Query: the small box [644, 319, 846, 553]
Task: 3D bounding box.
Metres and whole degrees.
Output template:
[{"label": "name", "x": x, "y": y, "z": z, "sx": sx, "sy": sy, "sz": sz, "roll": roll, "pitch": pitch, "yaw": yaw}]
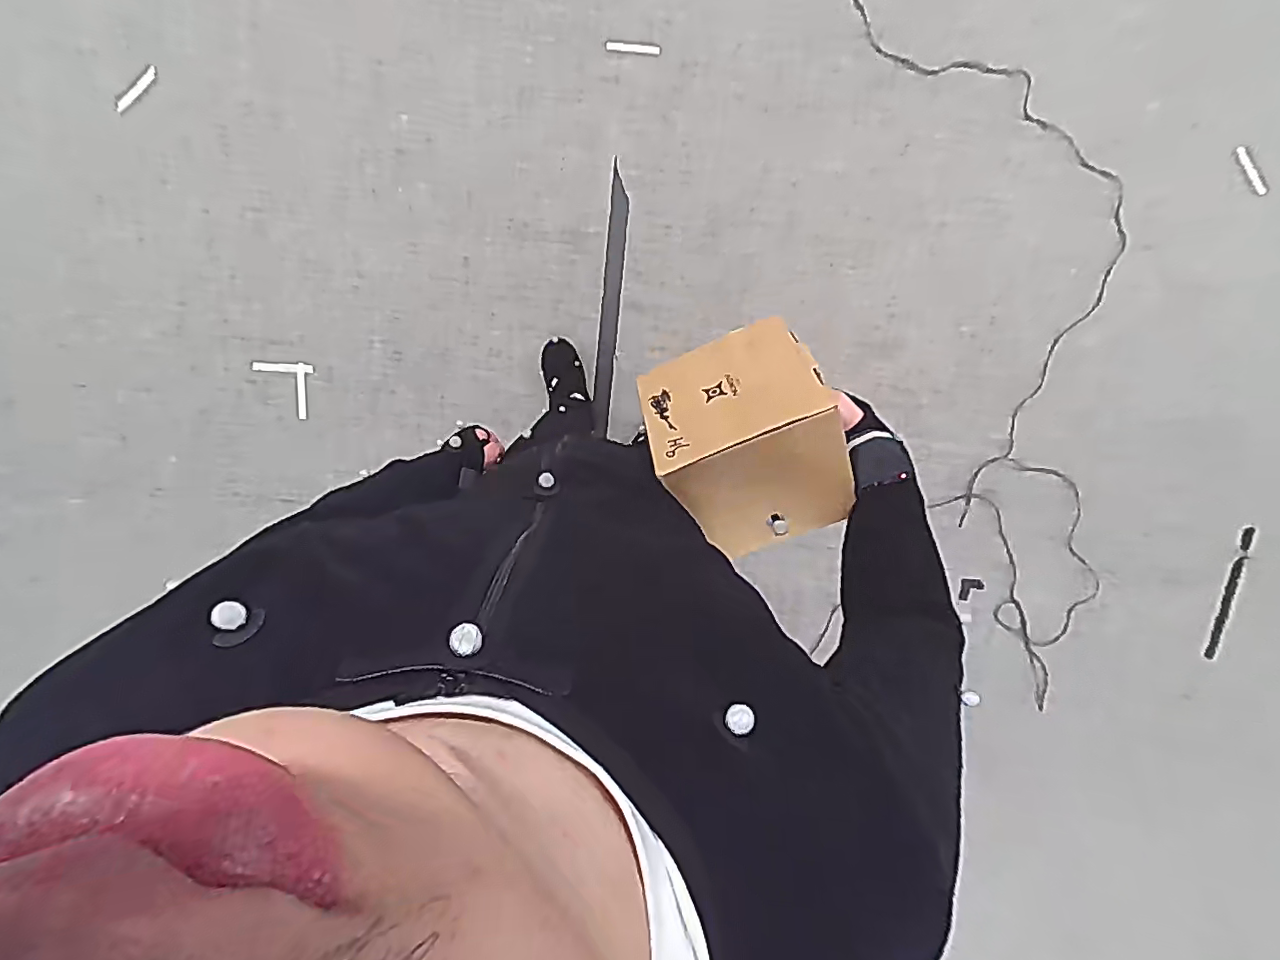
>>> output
[{"label": "small box", "x": 0.122, "y": -0.045, "z": 0.618, "sx": 0.179, "sy": 0.168, "sz": 0.176, "roll": -21, "pitch": 134, "yaw": 11}]
